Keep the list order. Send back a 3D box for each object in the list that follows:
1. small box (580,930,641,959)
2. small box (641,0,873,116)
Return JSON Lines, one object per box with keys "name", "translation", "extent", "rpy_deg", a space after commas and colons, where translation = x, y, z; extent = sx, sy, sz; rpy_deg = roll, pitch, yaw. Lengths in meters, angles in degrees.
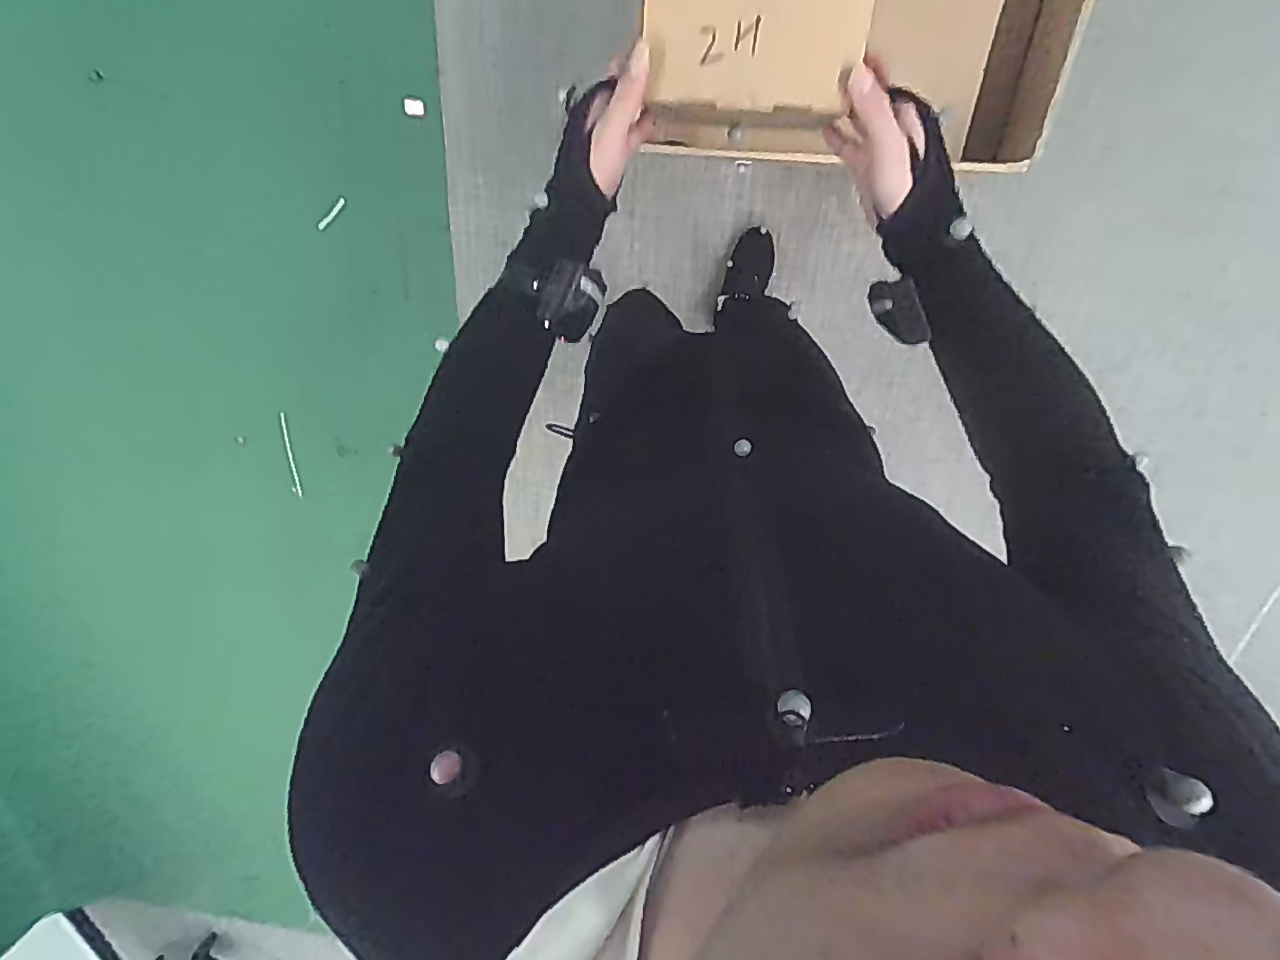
{"name": "small box", "translation": [-0.088, 1.415, 1.518], "extent": [0.168, 0.176, 0.179], "rpy_deg": [3, 115, 5]}
{"name": "small box", "translation": [0.096, -0.417, 0.441], "extent": [0.168, 0.176, 0.179], "rpy_deg": [6, 119, 4]}
